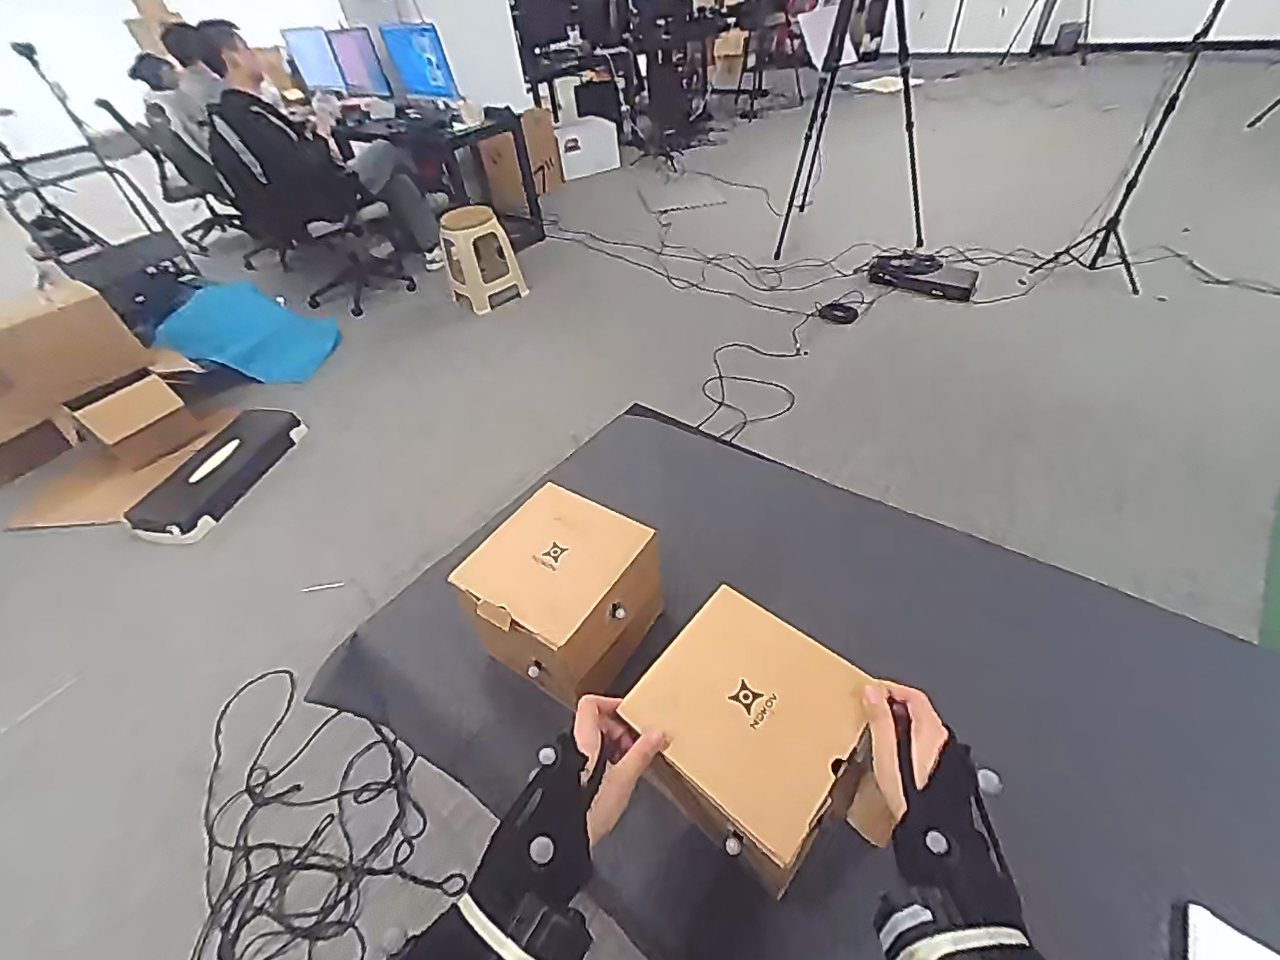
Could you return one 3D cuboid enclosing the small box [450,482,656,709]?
[{"bbox_3d":[-0.090,0.140,0.657,0.168,0.176,0.179,22,50,26],"label":"small box"}]
